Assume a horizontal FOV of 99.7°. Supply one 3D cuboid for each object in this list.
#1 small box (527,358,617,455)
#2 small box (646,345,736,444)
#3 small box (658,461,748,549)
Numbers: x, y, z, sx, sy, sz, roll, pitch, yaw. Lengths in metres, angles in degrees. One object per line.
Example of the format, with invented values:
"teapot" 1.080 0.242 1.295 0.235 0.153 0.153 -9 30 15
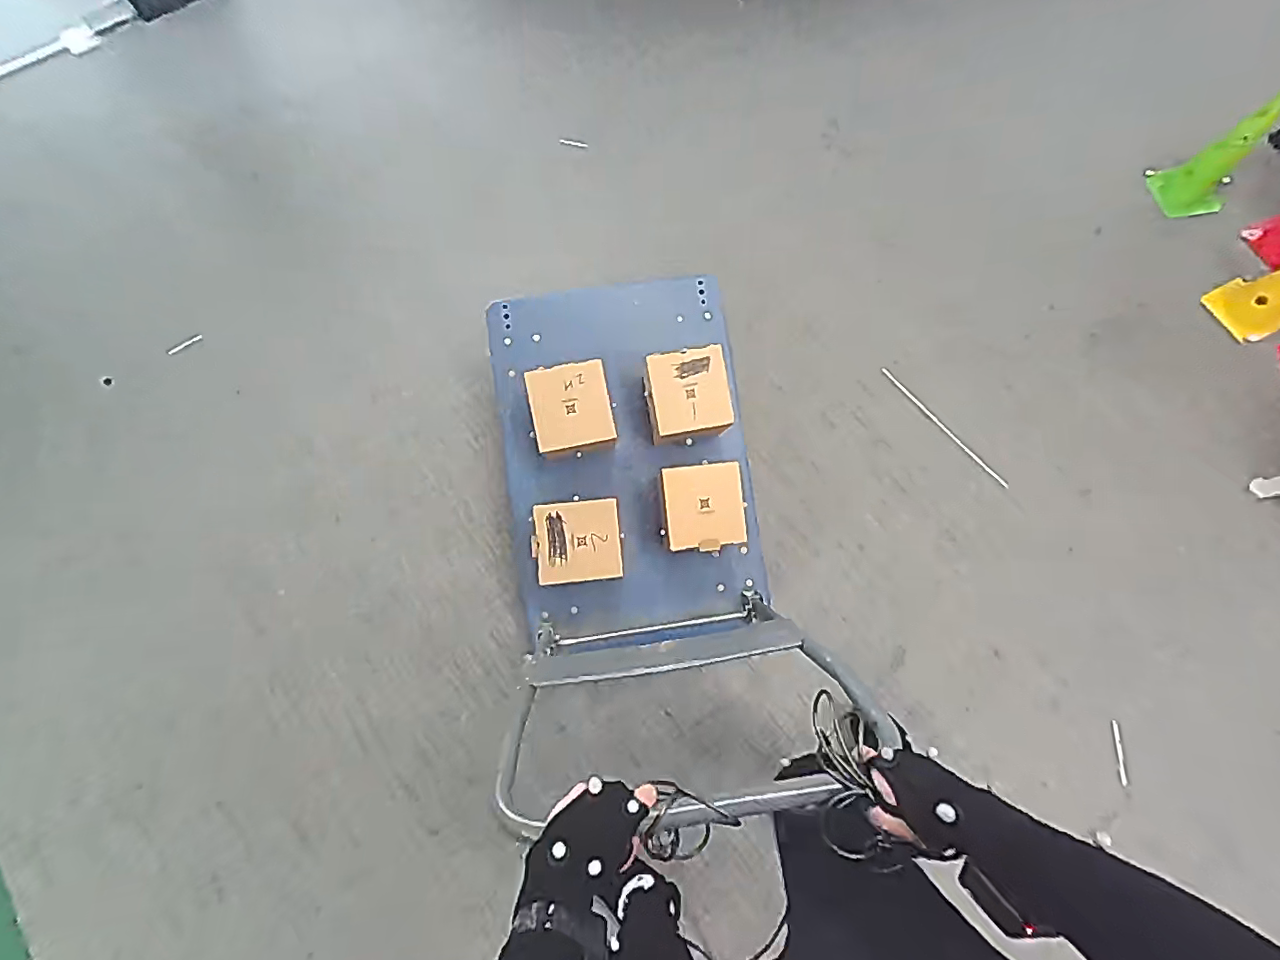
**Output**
"small box" -0.145 -0.155 1.209 0.168 0.176 0.179 -10 87 -3
"small box" 0.109 -0.187 1.220 0.168 0.176 0.179 -9 88 -2
"small box" 0.134 0.058 1.209 0.168 0.176 0.179 -5 87 -2
